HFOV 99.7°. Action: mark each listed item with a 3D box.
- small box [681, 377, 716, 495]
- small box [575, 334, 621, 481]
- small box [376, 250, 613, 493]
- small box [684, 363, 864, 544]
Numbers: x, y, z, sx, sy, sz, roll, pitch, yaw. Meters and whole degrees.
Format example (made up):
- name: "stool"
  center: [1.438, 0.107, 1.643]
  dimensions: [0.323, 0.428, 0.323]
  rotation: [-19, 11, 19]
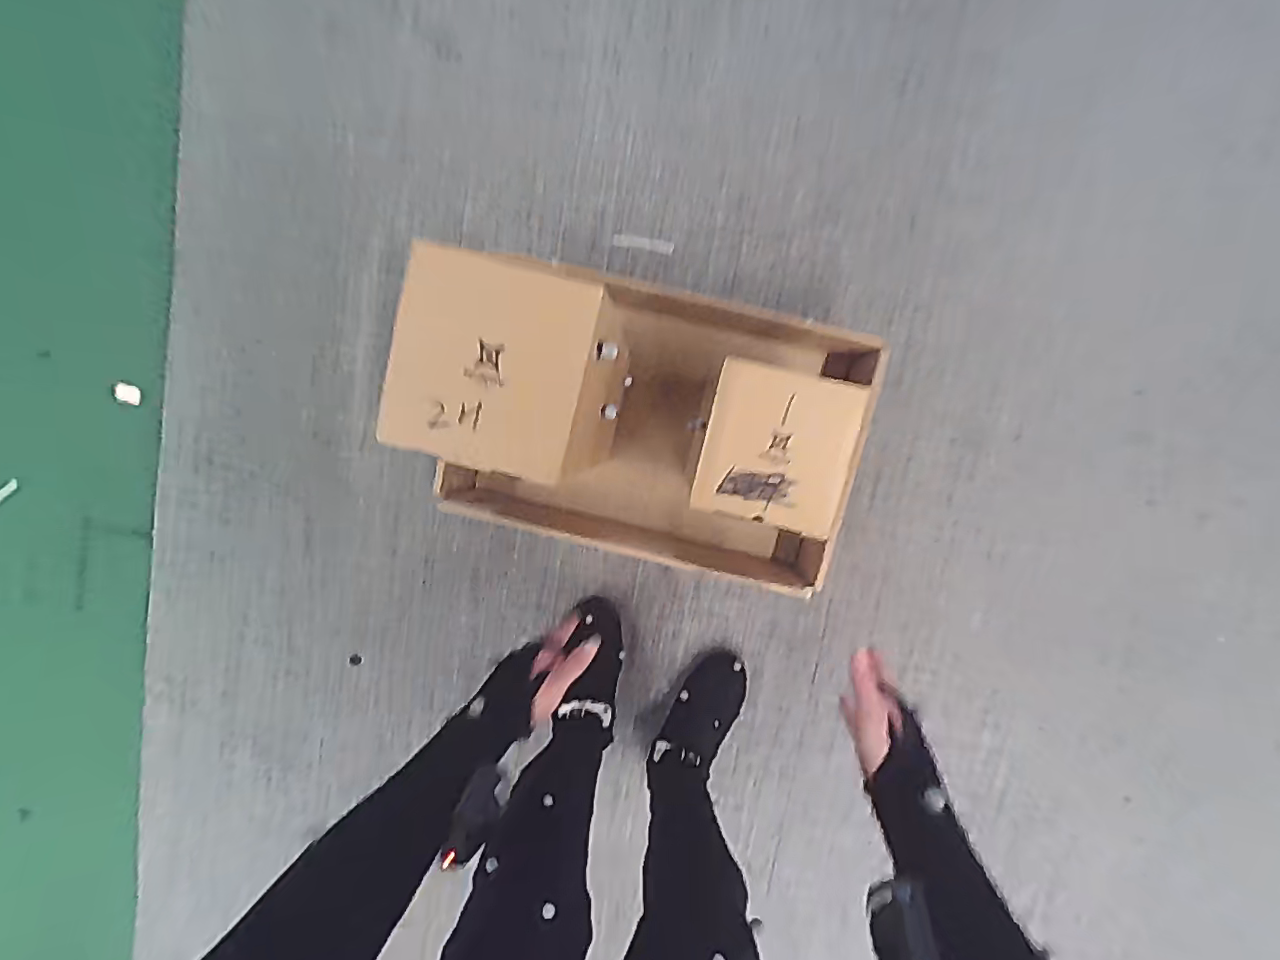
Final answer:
- name: "small box"
  center: [0.164, -0.052, 0.853]
  dimensions: [0.168, 0.176, 0.179]
  rotation: [14, 97, 4]
- name: "small box"
  center: [-0.123, -0.108, 0.705]
  dimensions: [0.168, 0.176, 0.179]
  rotation: [14, 96, 2]
- name: "small box"
  center: [-0.127, -0.098, 0.541]
  dimensions: [0.168, 0.176, 0.179]
  rotation: [14, 96, 2]
- name: "small box"
  center: [0.158, -0.036, 0.689]
  dimensions: [0.168, 0.176, 0.179]
  rotation: [14, 95, 4]
